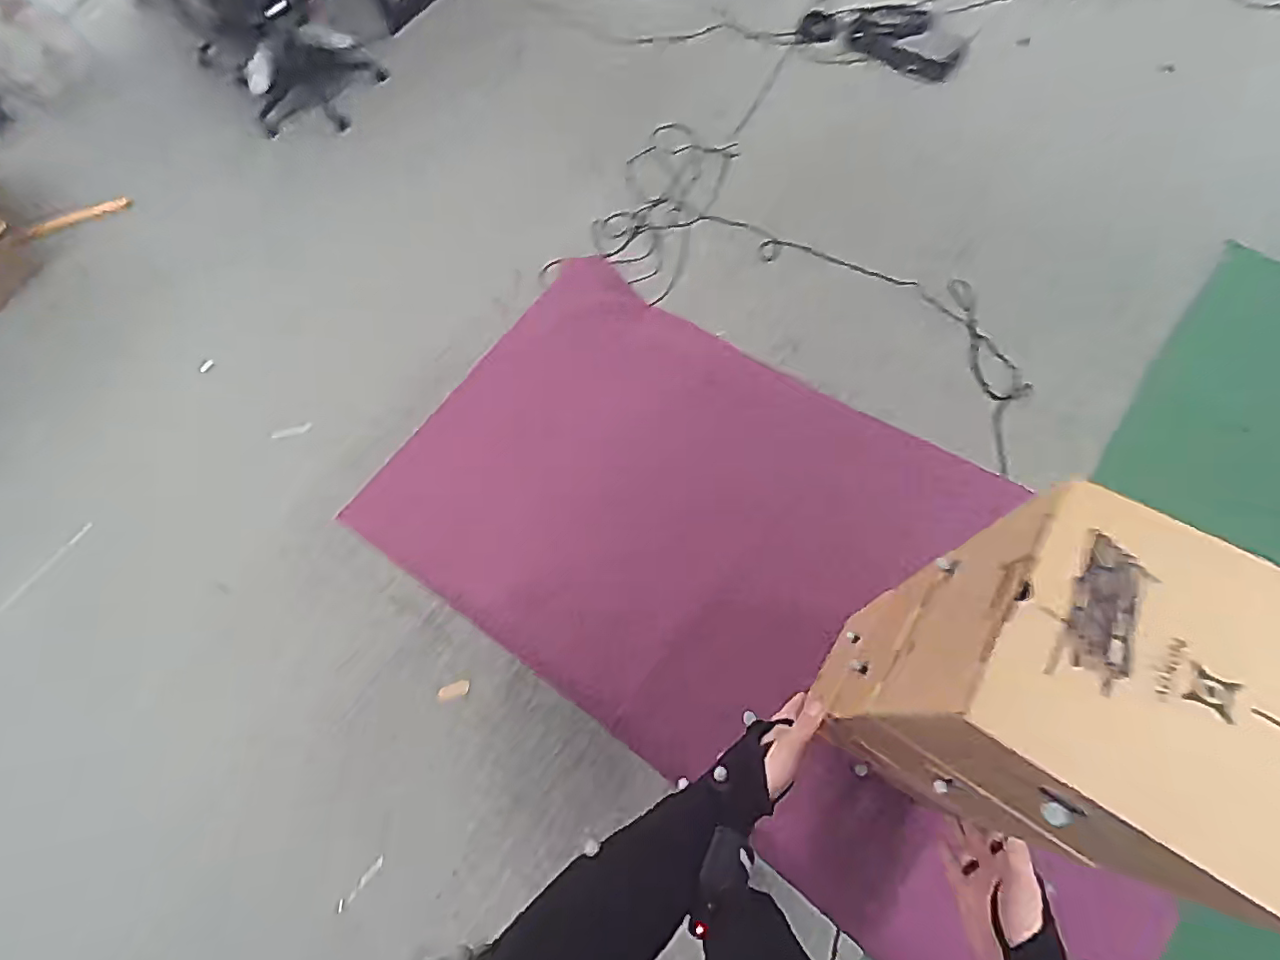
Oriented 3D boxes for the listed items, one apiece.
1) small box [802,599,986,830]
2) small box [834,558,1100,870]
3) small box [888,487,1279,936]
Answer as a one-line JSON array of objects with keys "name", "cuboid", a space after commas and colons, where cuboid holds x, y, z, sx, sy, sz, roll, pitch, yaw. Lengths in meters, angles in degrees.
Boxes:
[{"name": "small box", "cuboid": [0.321, 0.269, 0.647, 0.179, 0.176, 0.168, 31, 73, 18]}, {"name": "small box", "cuboid": [0.306, 0.203, 0.498, 0.179, 0.176, 0.168, 33, 74, 18]}, {"name": "small box", "cuboid": [0.293, 0.138, 0.348, 0.179, 0.176, 0.168, 32, 75, 18]}]
